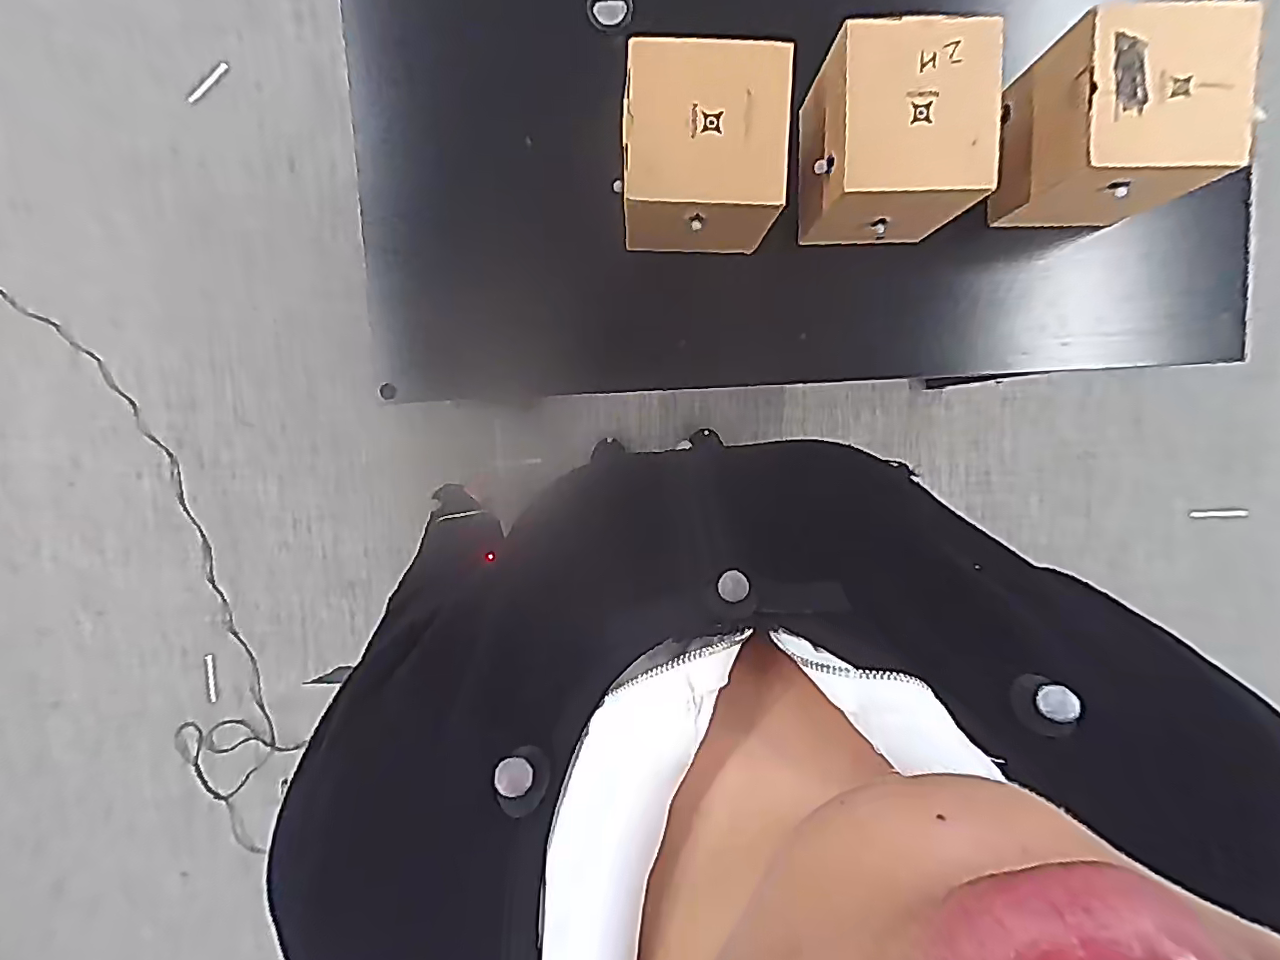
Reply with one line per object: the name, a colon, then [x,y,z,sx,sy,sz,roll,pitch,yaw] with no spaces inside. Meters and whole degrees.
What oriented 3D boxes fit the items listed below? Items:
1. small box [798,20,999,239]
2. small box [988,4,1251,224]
small box: [0.298,-0.407,0.659,0.168,0.176,0.179,-1,95,0]
small box: [0.559,-0.425,0.657,0.179,0.176,0.168,-1,95,0]
